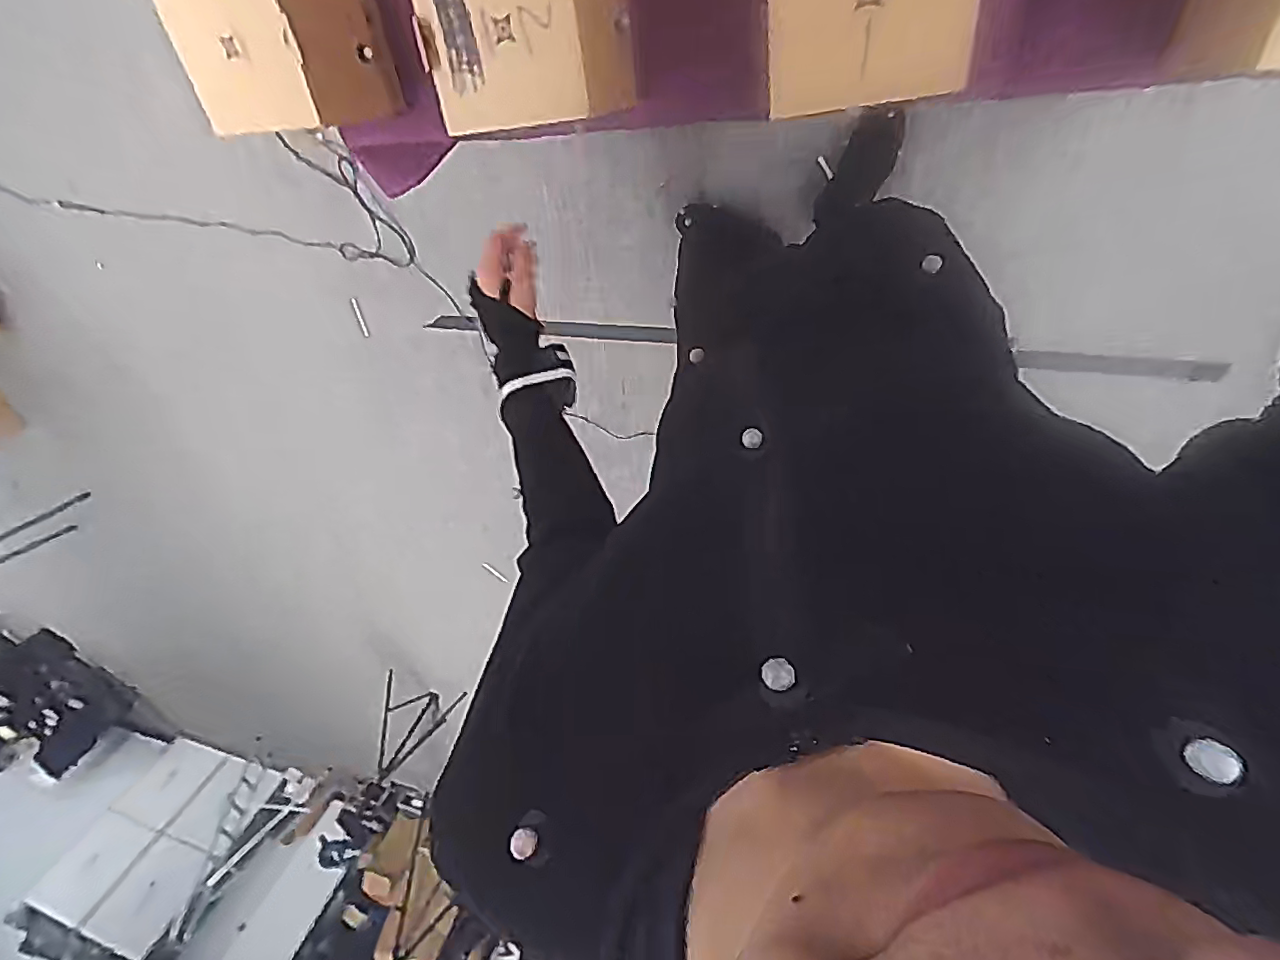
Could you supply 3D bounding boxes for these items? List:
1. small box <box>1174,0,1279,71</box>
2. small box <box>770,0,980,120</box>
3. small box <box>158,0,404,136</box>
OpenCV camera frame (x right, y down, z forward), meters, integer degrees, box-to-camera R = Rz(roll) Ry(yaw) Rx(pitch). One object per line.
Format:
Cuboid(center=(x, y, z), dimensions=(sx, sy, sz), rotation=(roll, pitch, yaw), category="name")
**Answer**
Cuboid(center=(0.555, -0.412, 0.393), dimensions=(0.168, 0.176, 0.179), rotation=(9, 129, 17), category="small box")
Cuboid(center=(0.212, -0.453, 0.498), dimensions=(0.168, 0.176, 0.179), rotation=(4, 129, 19), category="small box")
Cuboid(center=(-0.440, -0.542, 0.683), dimensions=(0.179, 0.176, 0.168), rotation=(6, 128, 16), category="small box")
